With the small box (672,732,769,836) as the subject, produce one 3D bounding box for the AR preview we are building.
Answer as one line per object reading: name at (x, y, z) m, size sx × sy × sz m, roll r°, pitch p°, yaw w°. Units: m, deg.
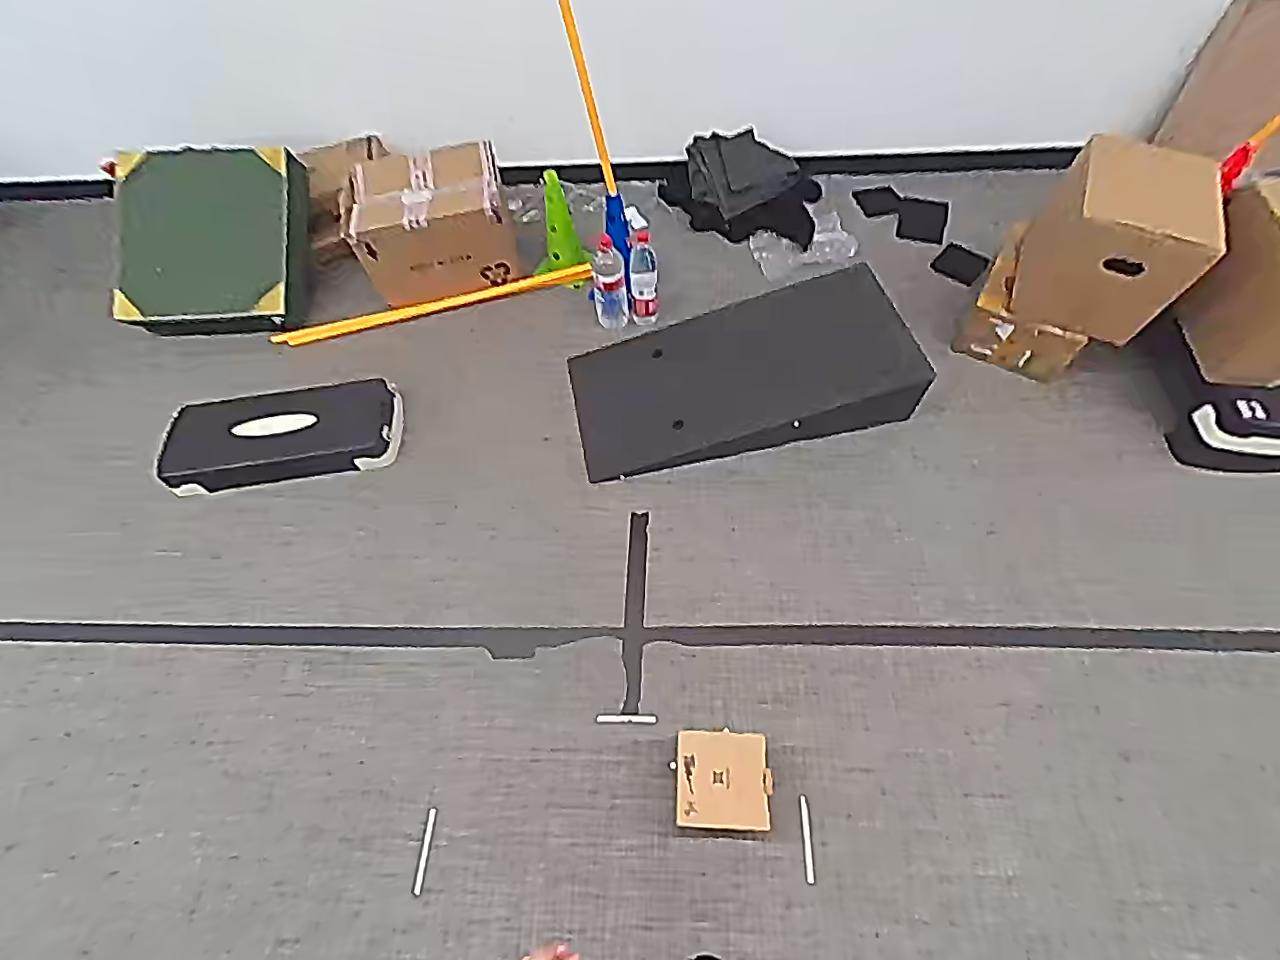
small box at (0.158, 0.616, 1.104) m, size 0.179 × 0.176 × 0.168 m, roll 2°, pitch 60°, yaw 3°
